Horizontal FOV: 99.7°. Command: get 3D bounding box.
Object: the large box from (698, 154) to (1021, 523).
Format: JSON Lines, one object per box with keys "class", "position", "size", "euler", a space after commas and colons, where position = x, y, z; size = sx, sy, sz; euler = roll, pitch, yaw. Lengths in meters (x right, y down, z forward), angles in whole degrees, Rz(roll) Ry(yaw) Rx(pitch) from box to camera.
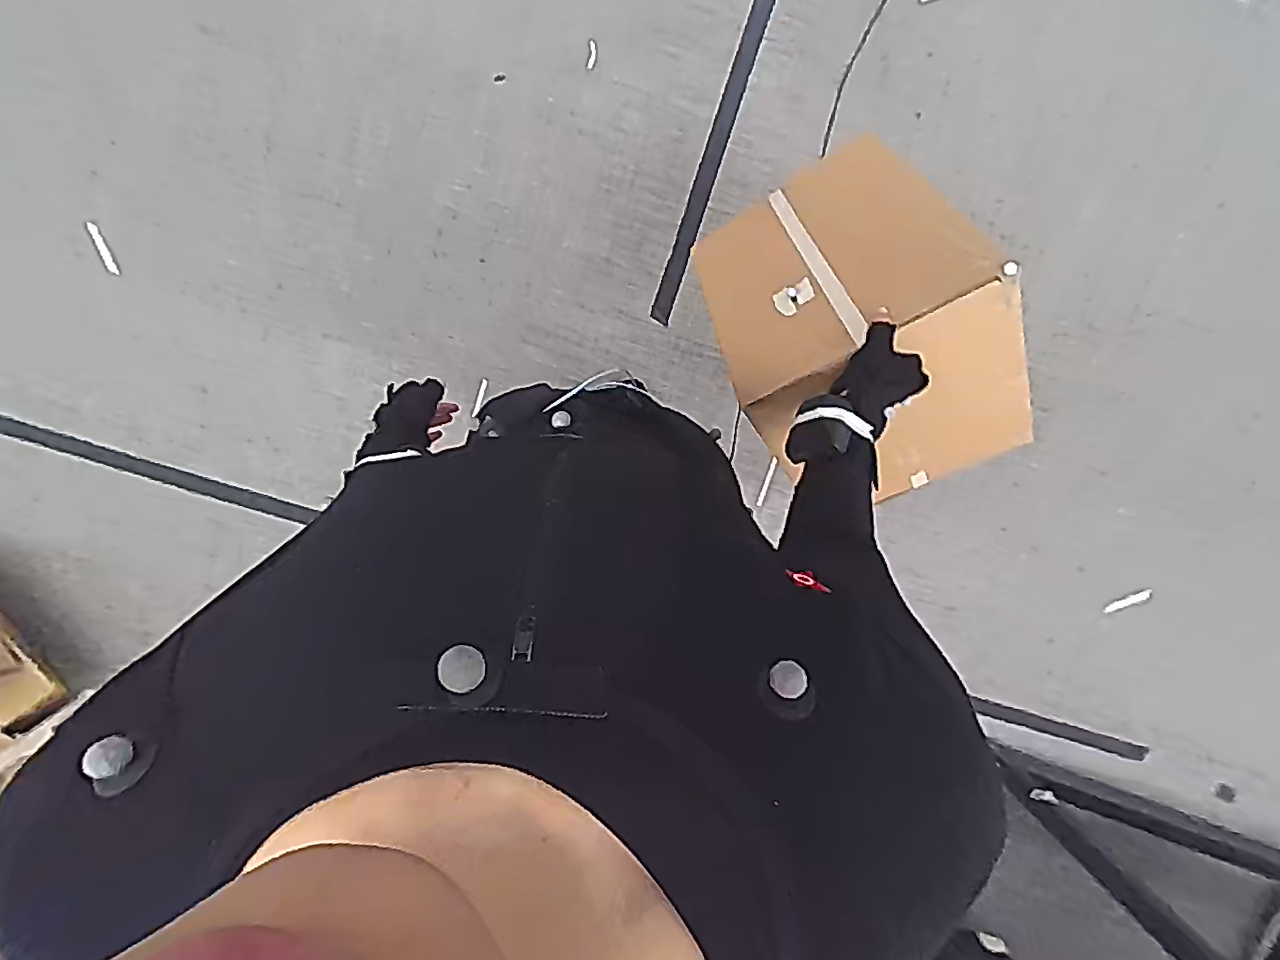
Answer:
{"class": "large box", "position": [0.322, -0.210, 0.844], "size": [0.320, 0.408, 0.320], "euler": [-25, 137, 22]}
